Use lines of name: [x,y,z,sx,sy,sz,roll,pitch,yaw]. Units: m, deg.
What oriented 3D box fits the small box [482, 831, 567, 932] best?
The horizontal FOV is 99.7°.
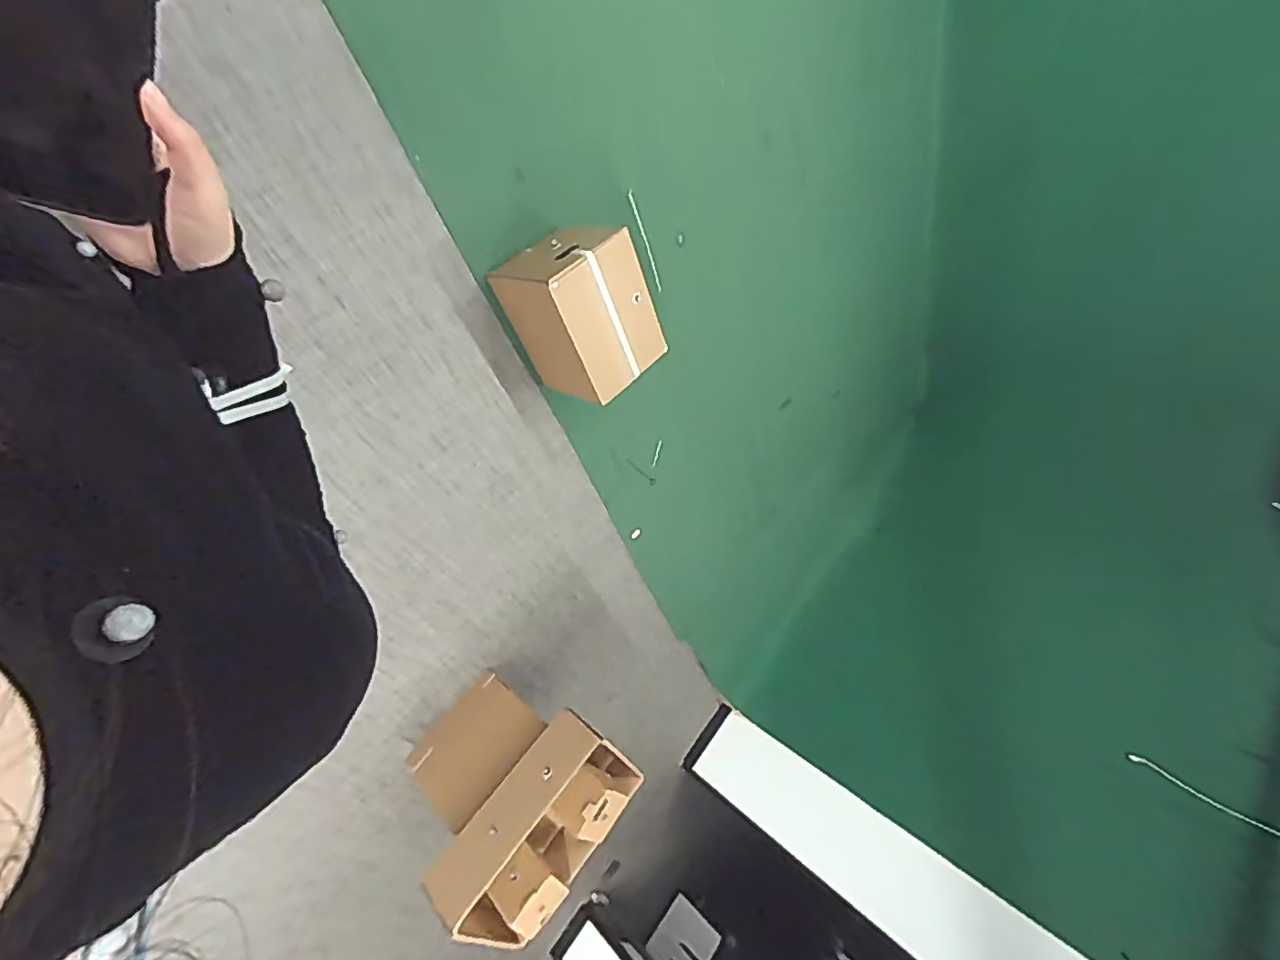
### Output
small box: [-0.363,1.243,1.684,0.168,0.176,0.179,-41,132,-26]
